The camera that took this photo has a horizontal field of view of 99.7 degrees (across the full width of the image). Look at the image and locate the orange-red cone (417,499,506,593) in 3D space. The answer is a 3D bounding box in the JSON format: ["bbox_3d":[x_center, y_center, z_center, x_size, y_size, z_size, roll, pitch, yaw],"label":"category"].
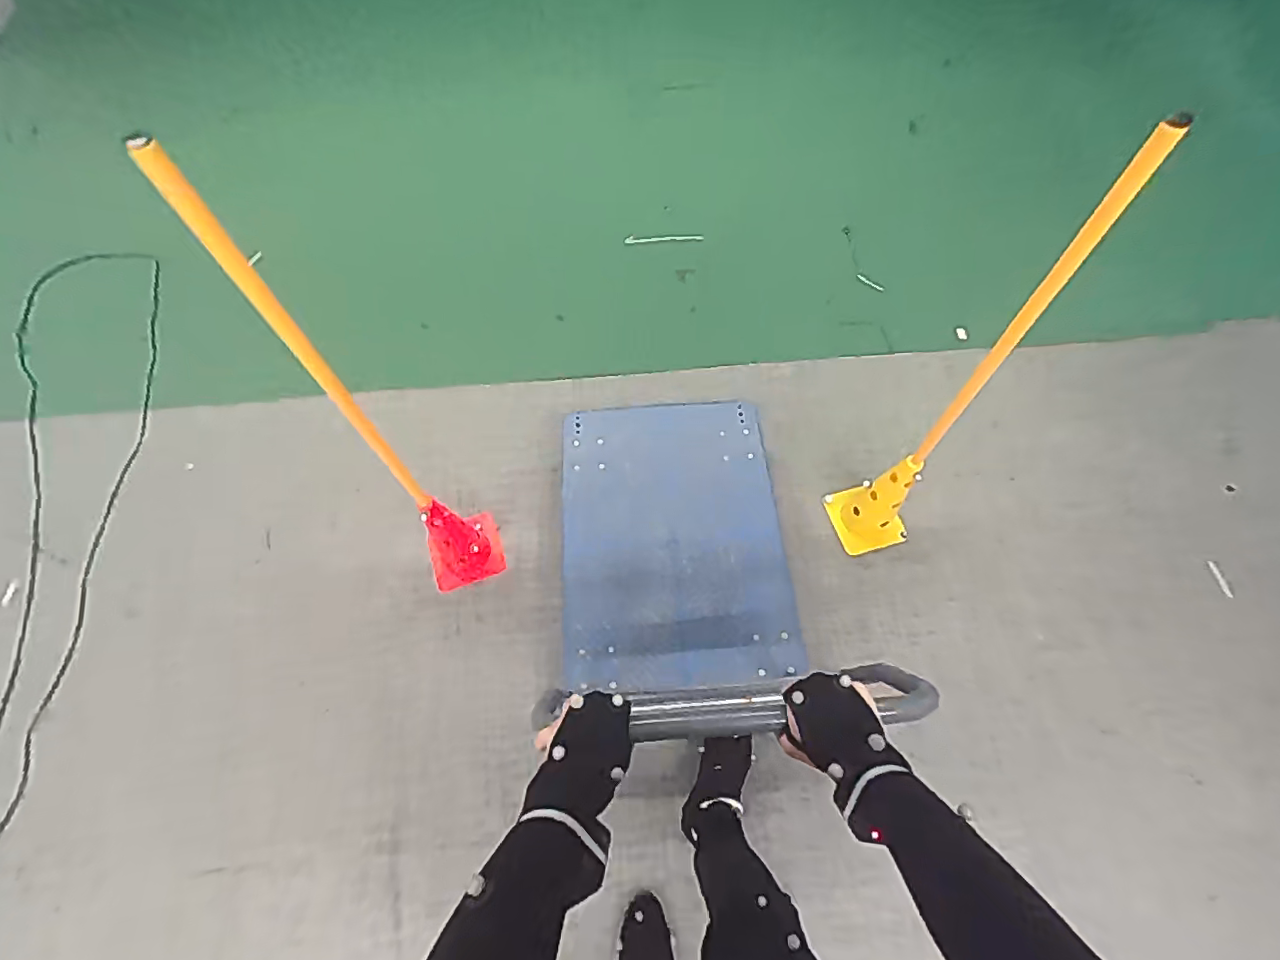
[{"bbox_3d":[-0.505,0.142,1.425,0.199,0.360,0.198,-19,64,-7],"label":"orange-red cone"}]
